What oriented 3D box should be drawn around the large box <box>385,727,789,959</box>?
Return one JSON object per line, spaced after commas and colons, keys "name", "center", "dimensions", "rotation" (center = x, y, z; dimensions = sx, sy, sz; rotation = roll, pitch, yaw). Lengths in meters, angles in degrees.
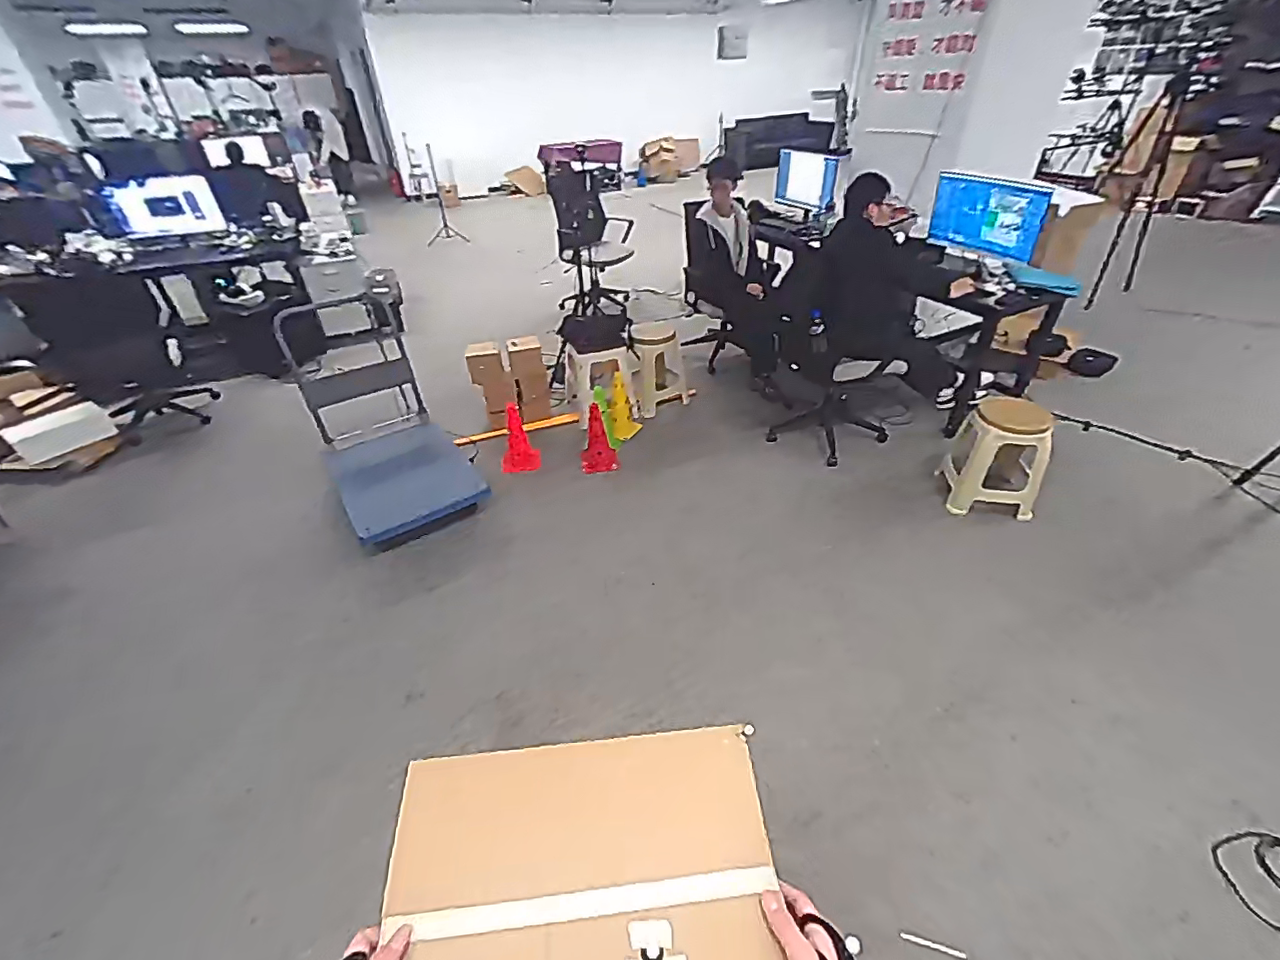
{"name": "large box", "center": [-0.058, 0.543, 0.669], "dimensions": [0.408, 0.320, 0.320], "rotation": [-5, 48, -4]}
